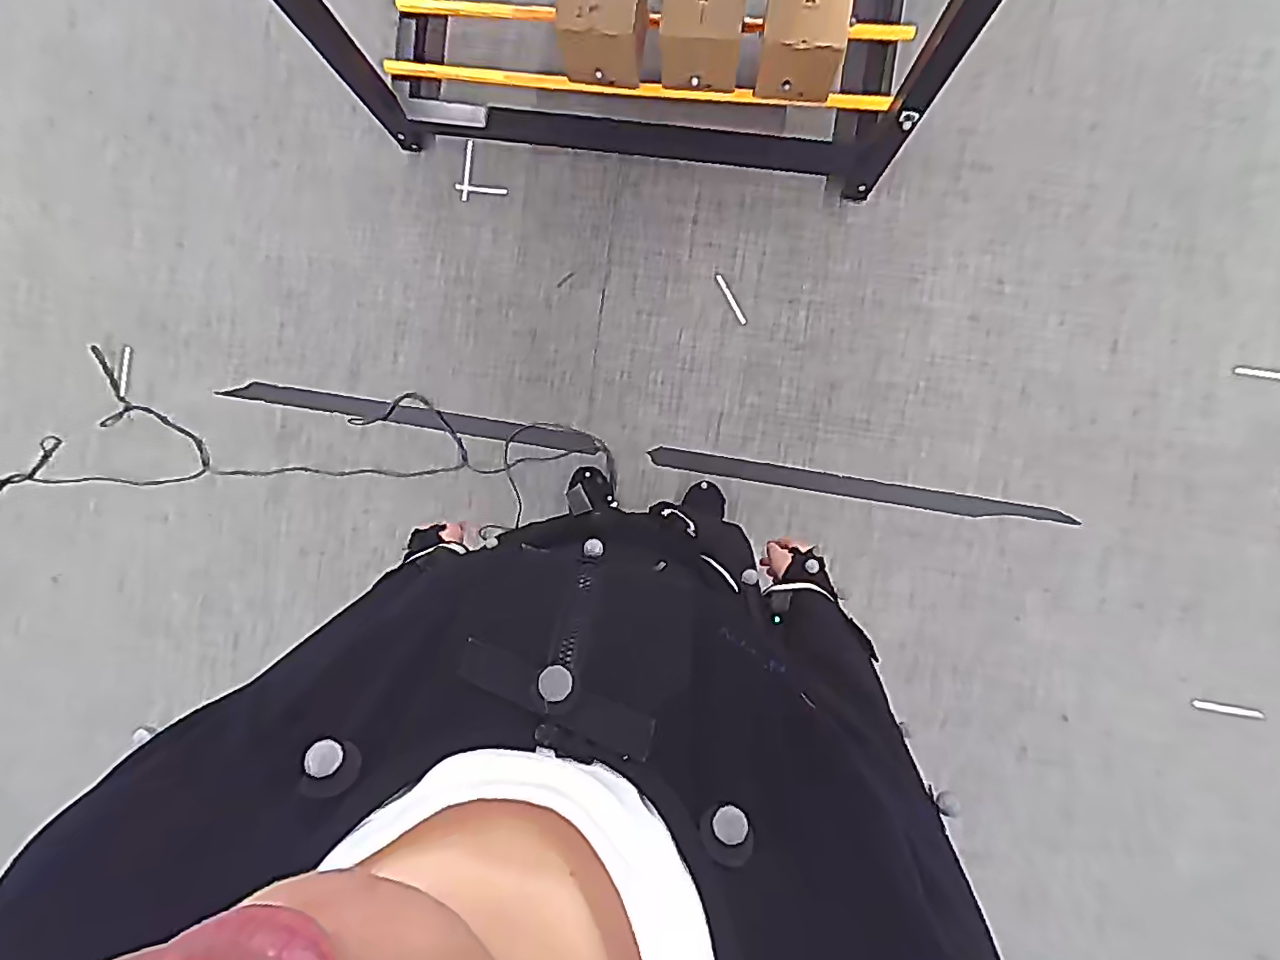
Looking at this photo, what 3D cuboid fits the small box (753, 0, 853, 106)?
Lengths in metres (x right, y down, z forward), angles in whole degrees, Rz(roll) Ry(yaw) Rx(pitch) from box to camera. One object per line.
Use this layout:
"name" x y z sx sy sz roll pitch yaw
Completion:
"small box" 0.336 -0.931 1.133 0.168 0.176 0.179 7 94 4

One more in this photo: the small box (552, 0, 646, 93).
"small box" -0.080 -0.986 1.163 0.168 0.176 0.179 9 94 3
